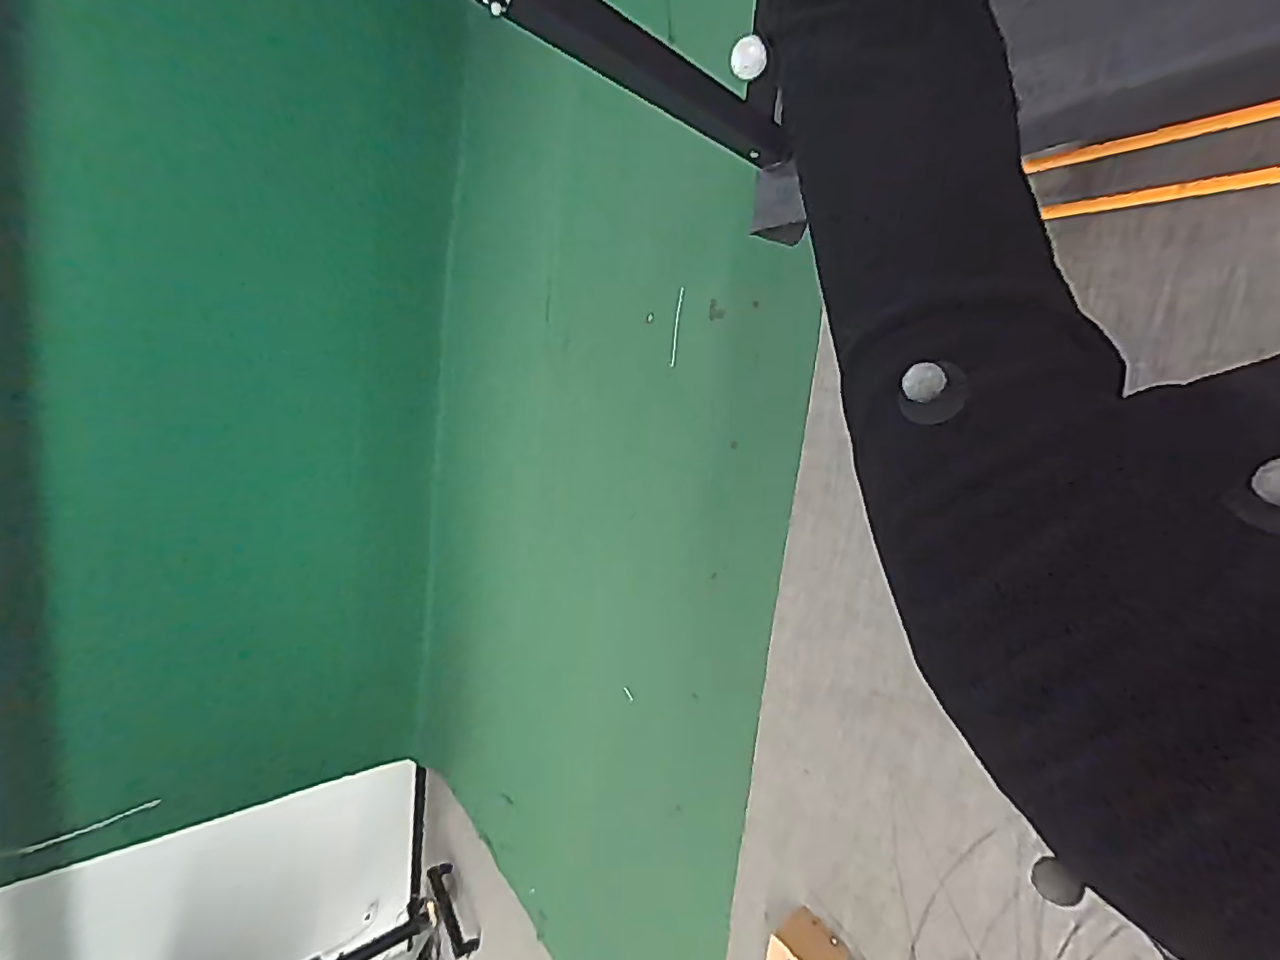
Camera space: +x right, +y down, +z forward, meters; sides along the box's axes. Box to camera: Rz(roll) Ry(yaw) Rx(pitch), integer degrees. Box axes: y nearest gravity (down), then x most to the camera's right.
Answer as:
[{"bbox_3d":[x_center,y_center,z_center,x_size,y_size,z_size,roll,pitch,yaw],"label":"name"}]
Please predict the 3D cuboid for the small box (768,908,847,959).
[{"bbox_3d":[0.510,1.475,1.650,0.168,0.176,0.179,18,105,48],"label":"small box"}]
